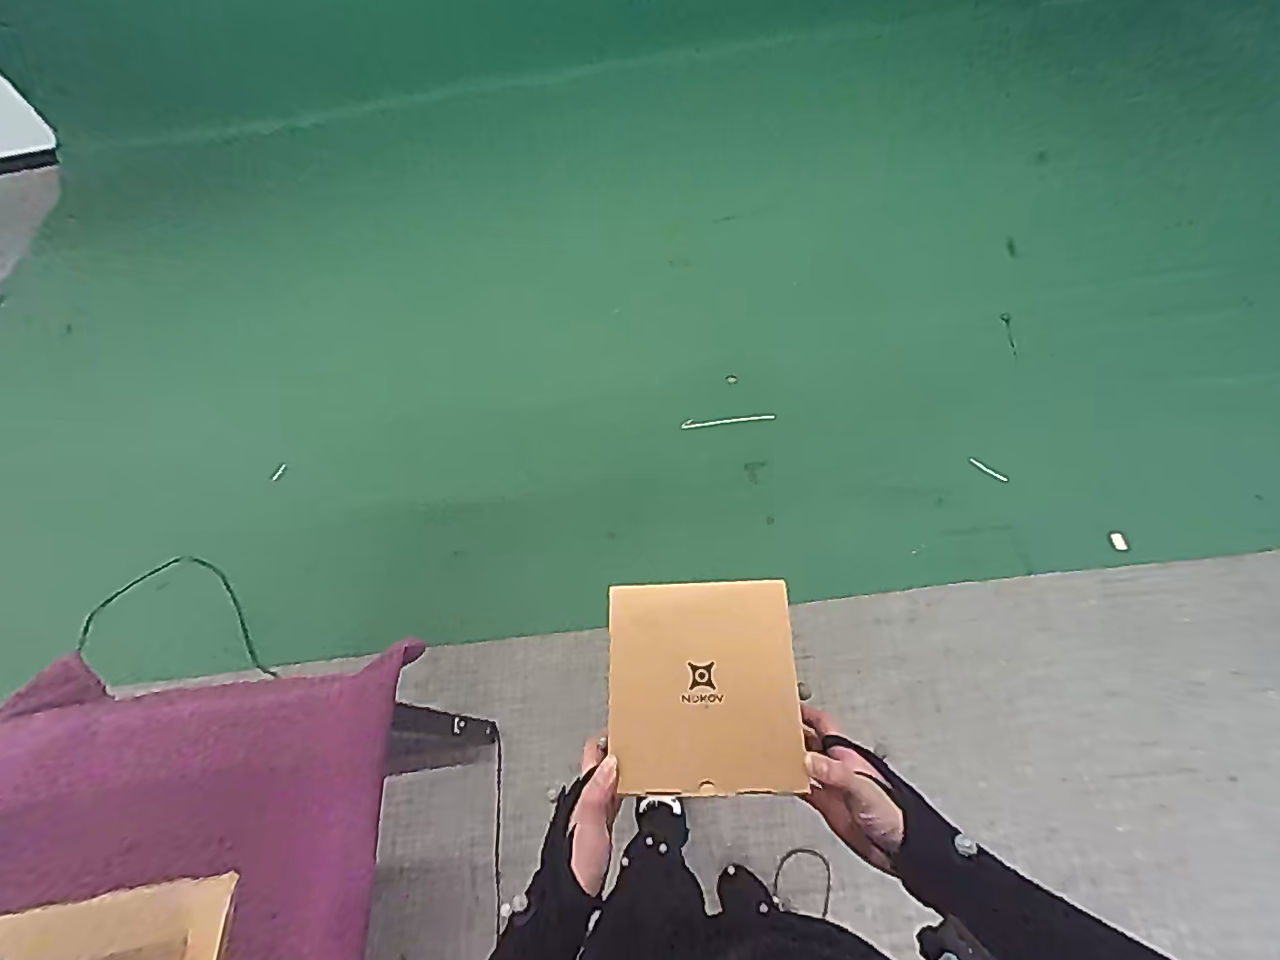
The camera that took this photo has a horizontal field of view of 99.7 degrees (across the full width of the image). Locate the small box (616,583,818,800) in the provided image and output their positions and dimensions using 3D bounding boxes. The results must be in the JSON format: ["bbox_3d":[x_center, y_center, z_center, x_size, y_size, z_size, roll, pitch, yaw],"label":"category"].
[{"bbox_3d":[0.067,0.209,0.541,0.168,0.176,0.179,-3,67,4],"label":"small box"}]

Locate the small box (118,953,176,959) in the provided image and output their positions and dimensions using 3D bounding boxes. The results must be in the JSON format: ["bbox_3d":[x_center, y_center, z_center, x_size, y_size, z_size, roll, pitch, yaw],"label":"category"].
[{"bbox_3d":[-0.547,0.524,0.447,0.179,0.176,0.168,-10,58,1],"label":"small box"}]
